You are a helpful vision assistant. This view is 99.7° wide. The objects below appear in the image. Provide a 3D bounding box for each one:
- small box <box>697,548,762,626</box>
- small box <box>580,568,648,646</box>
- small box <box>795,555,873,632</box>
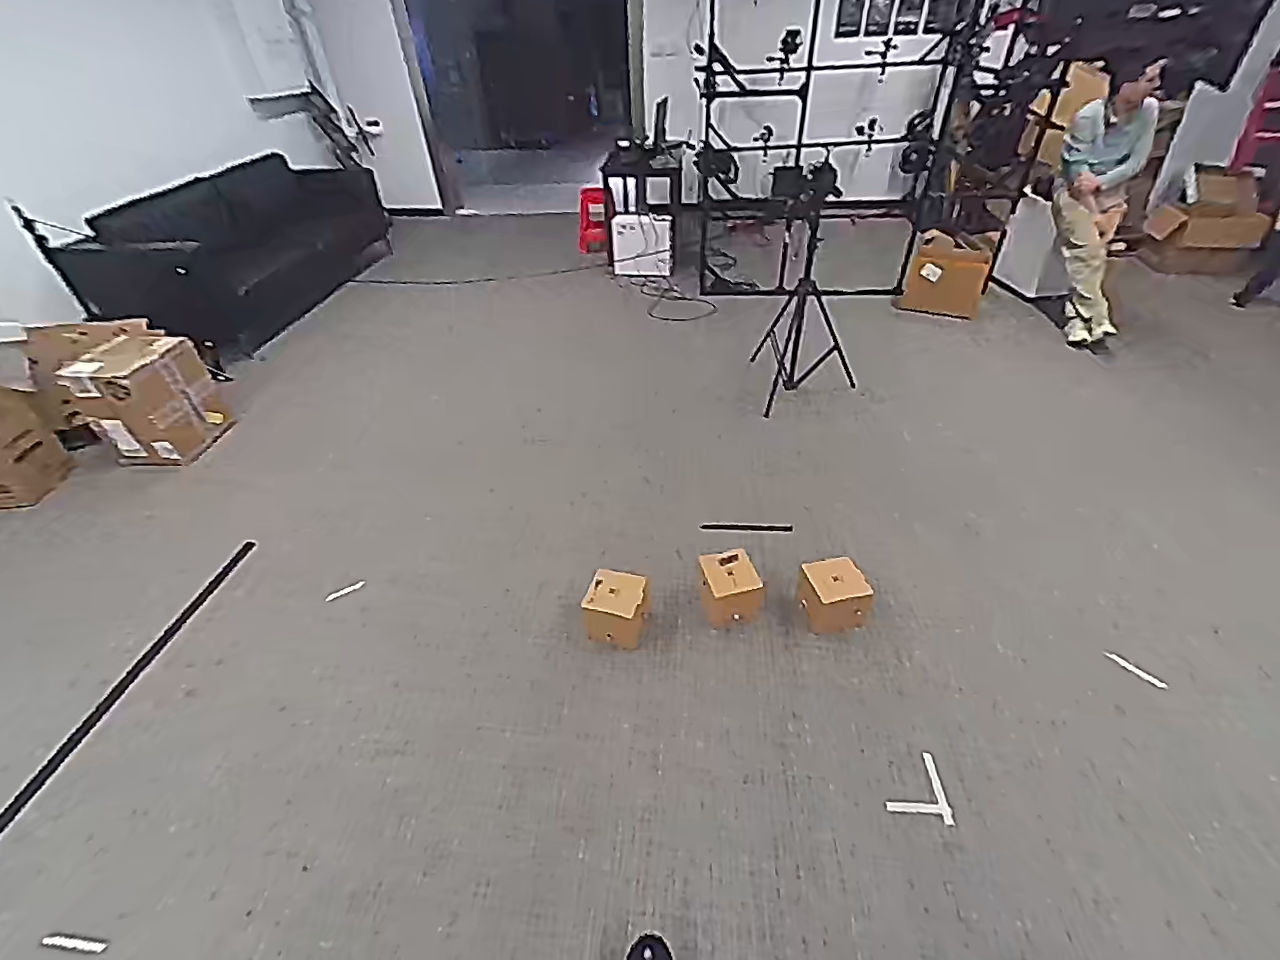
[{"bbox_3d":[0.296,0.361,1.824,0.168,0.176,0.179,-11,41,-9],"label":"small box"},{"bbox_3d":[-0.078,0.422,1.779,0.179,0.176,0.168,10,41,15],"label":"small box"},{"bbox_3d":[0.633,0.376,1.787,0.179,0.176,0.168,-11,39,-8],"label":"small box"}]
